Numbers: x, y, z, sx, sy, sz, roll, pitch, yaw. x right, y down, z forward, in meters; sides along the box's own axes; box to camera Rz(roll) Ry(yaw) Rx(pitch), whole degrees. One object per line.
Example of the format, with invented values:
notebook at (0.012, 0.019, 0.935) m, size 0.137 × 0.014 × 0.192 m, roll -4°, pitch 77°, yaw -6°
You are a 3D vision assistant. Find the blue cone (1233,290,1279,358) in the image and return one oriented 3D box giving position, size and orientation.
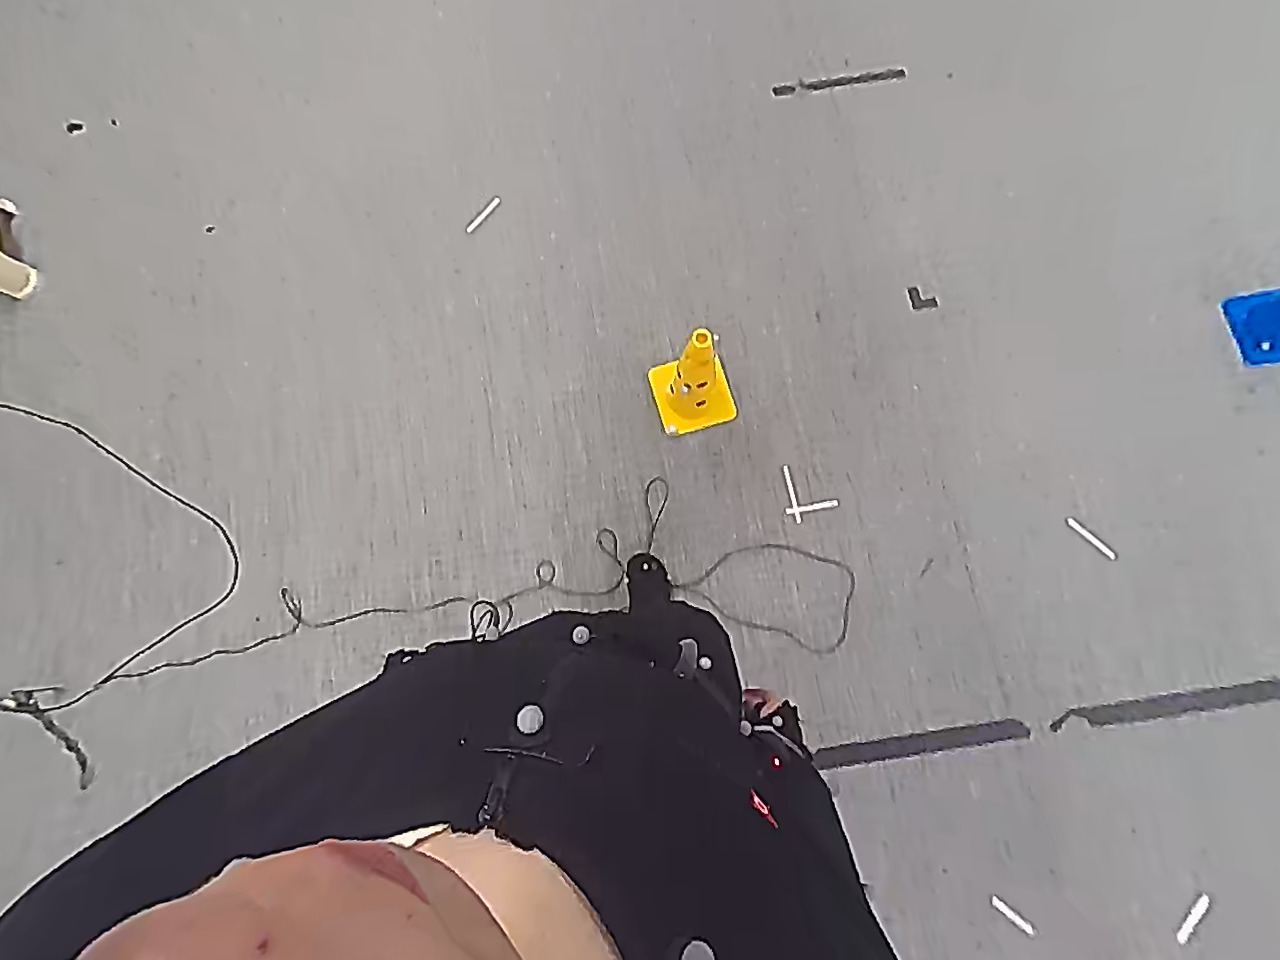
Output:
blue cone at (1.667, -0.444, 1.255) m, size 0.193 × 0.380 × 0.192 m, roll -9°, pitch 79°, yaw 0°
